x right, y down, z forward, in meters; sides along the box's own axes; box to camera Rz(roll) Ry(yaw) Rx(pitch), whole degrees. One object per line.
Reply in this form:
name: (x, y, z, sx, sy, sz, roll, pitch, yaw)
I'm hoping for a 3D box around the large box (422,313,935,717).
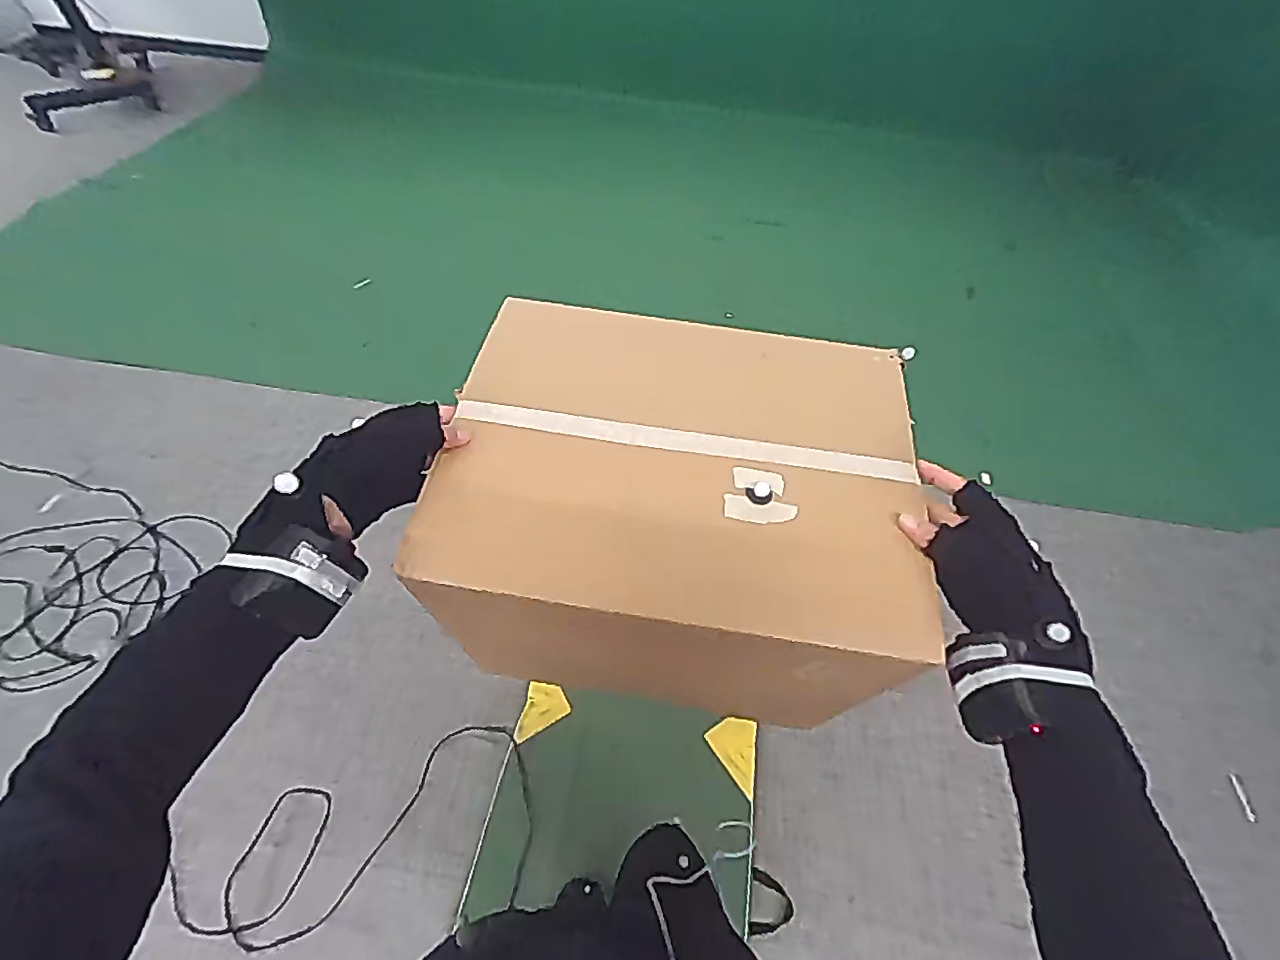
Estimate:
large box: (0.036, 0.054, 0.613, 0.408, 0.320, 0.320, 9, 58, 2)
